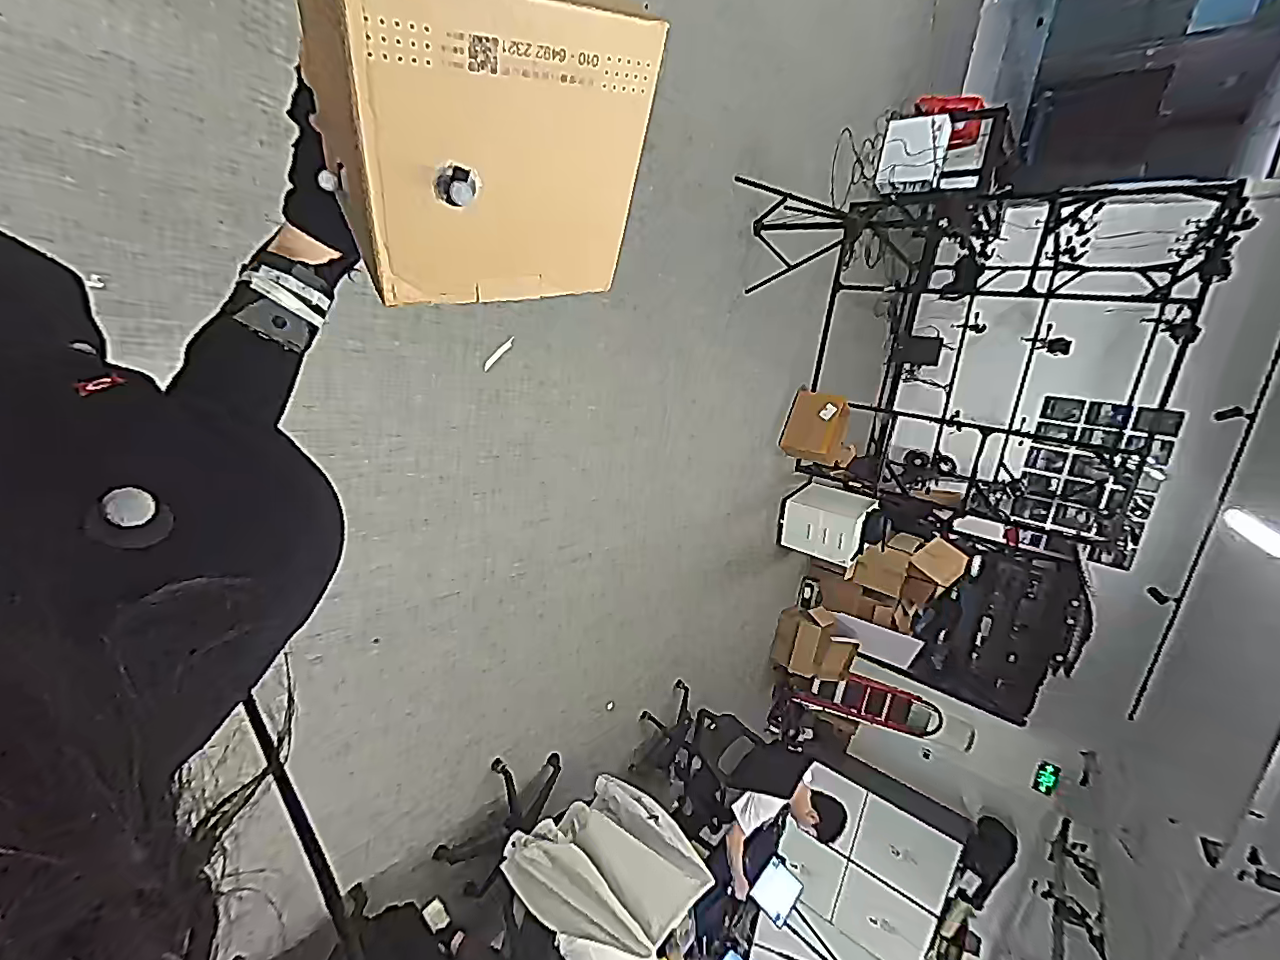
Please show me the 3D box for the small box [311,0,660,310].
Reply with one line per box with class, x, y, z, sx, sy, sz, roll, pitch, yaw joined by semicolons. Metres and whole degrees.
small box;-0.104;-0.237;0.354;0.168;0.179;0.176;-14;147;-30
